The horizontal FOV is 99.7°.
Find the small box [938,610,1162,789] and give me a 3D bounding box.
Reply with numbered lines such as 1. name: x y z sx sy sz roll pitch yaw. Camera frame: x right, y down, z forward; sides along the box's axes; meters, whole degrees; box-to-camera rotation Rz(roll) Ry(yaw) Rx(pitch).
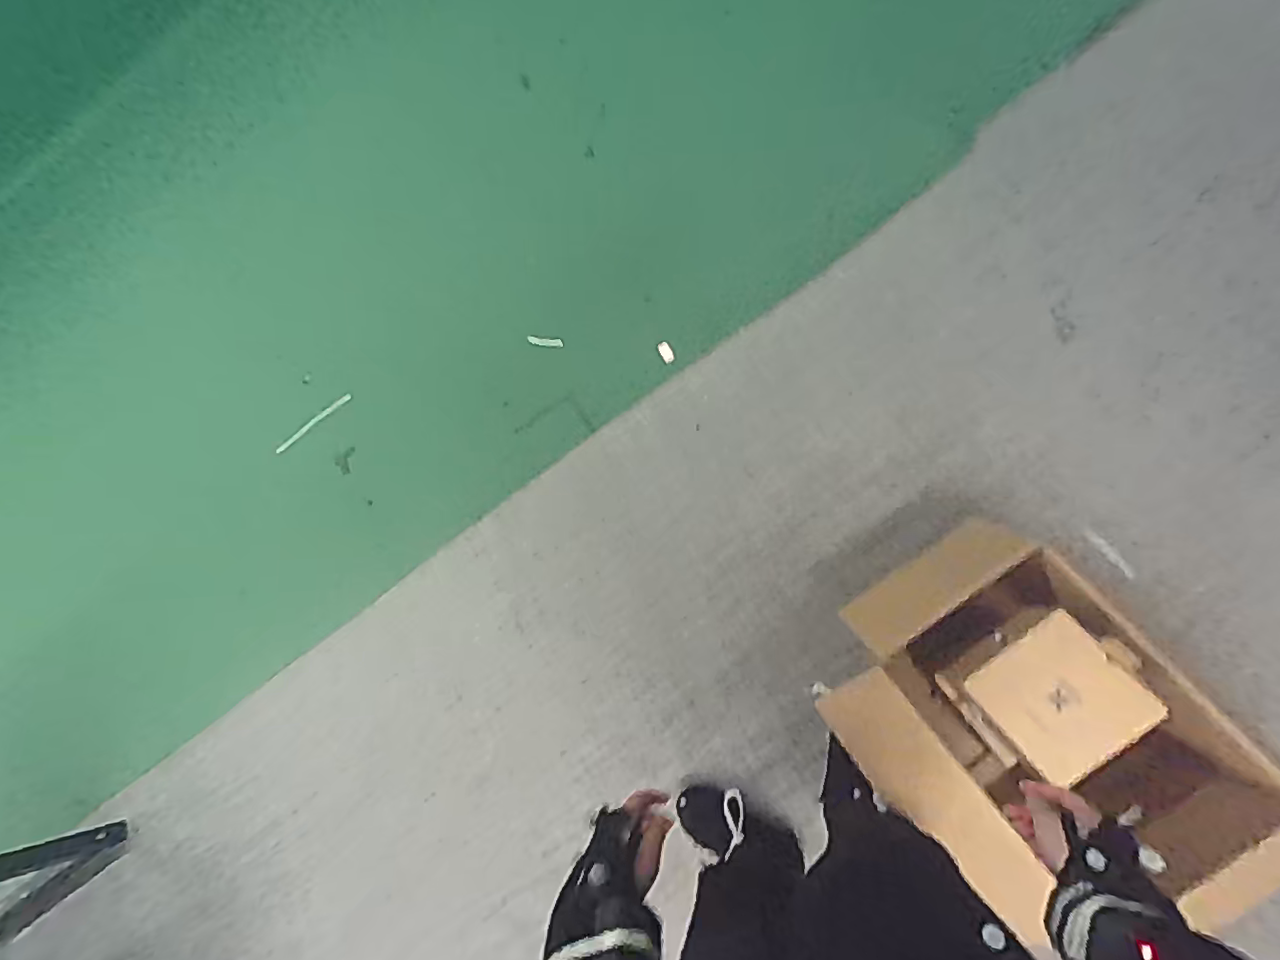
1. small box: 0.582 0.309 0.802 0.179 0.176 0.168 -40 69 5
